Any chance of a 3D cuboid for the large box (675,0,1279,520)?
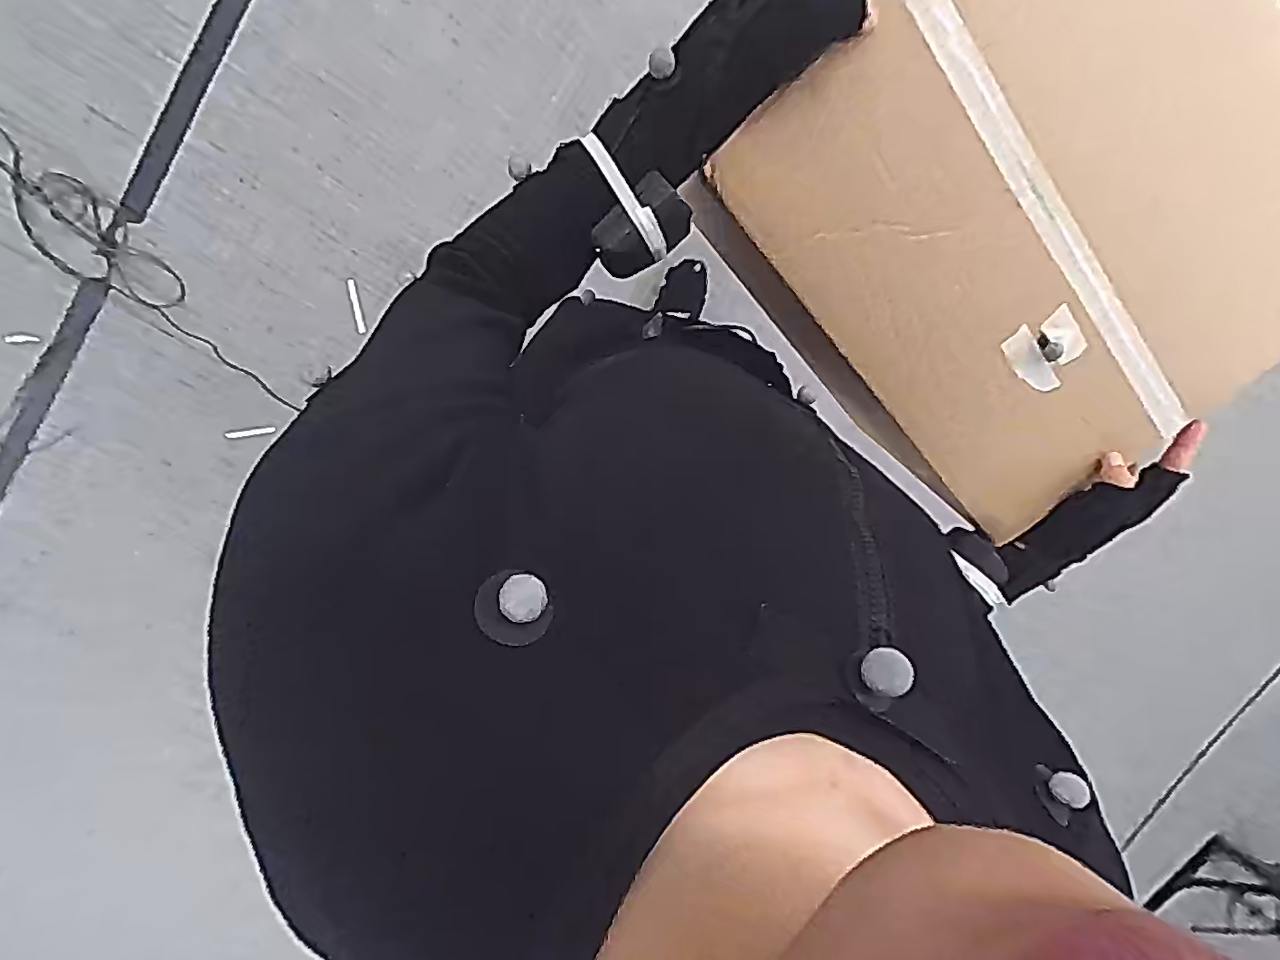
[{"bbox_3d":[0.286,-0.247,0.524,0.320,0.320,0.408,-40,110,17],"label":"large box"}]
